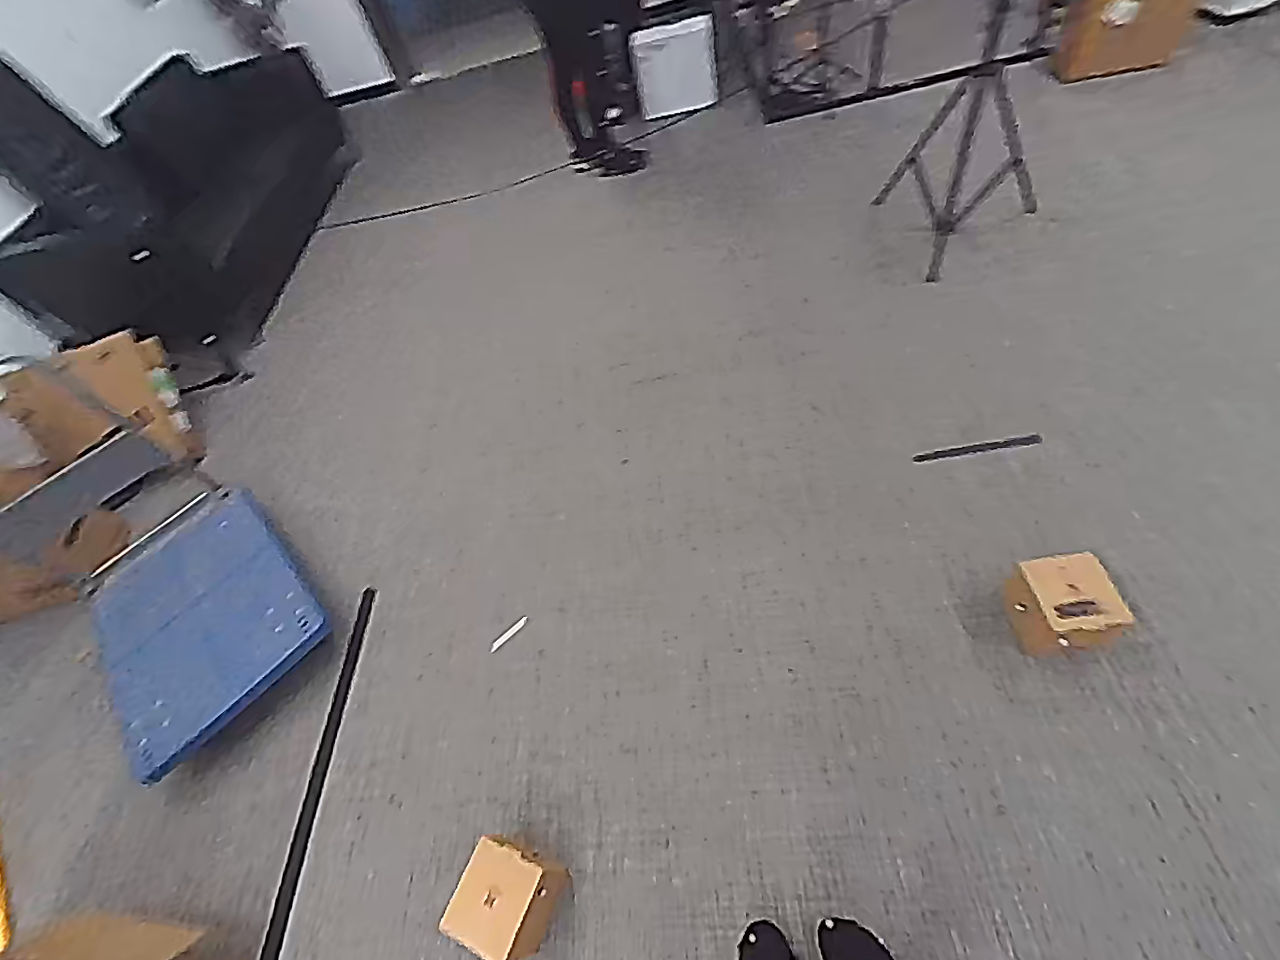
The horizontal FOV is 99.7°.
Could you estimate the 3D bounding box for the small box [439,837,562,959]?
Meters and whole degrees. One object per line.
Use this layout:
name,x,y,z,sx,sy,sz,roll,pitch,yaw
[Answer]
small box,-0.292,0.914,1.179,0.168,0.176,0.179,12,59,22
